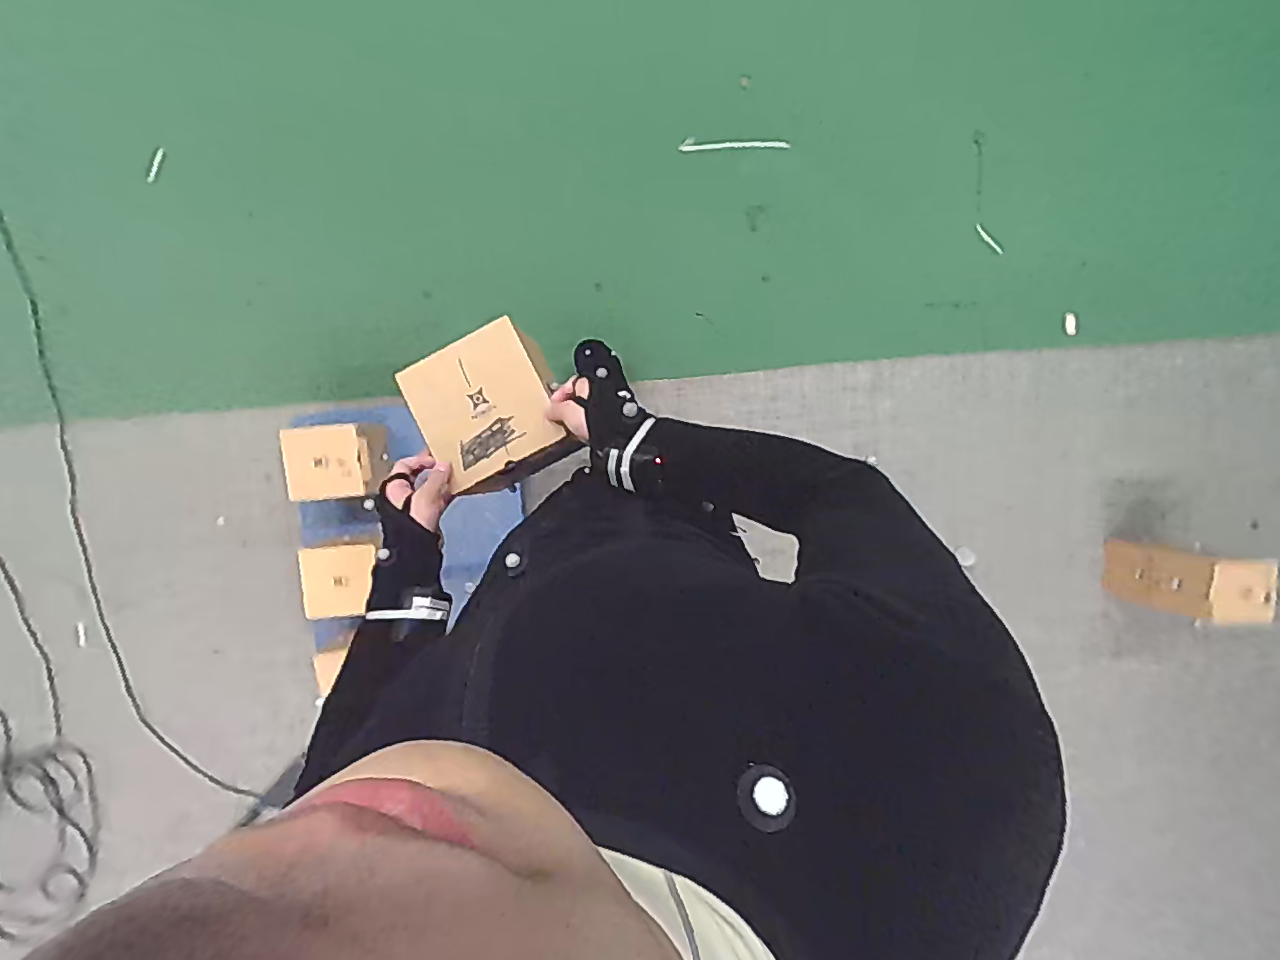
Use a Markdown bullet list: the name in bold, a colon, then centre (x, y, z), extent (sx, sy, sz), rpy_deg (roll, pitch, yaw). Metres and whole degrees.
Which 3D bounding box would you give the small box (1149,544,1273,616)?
- **small box**: centre (1.577, 0.274, 1.504), extent (0.179, 0.176, 0.168), rpy_deg (0, 94, -2)

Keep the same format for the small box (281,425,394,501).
- **small box**: centre (-0.729, -0.045, 1.319), extent (0.179, 0.176, 0.168), rpy_deg (-5, 96, -3)

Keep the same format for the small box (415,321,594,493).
- **small box**: centre (-0.180, -0.095, 0.778), extent (0.168, 0.176, 0.179), rpy_deg (-26, 87, 3)

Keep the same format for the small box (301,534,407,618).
- **small box**: centre (-0.703, 0.232, 1.345), extent (0.179, 0.176, 0.168), rpy_deg (-5, 95, -4)

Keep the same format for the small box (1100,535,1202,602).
- **small box**: centre (1.572, 0.267, 1.667), extent (0.168, 0.176, 0.179), rpy_deg (0, 94, -3)
